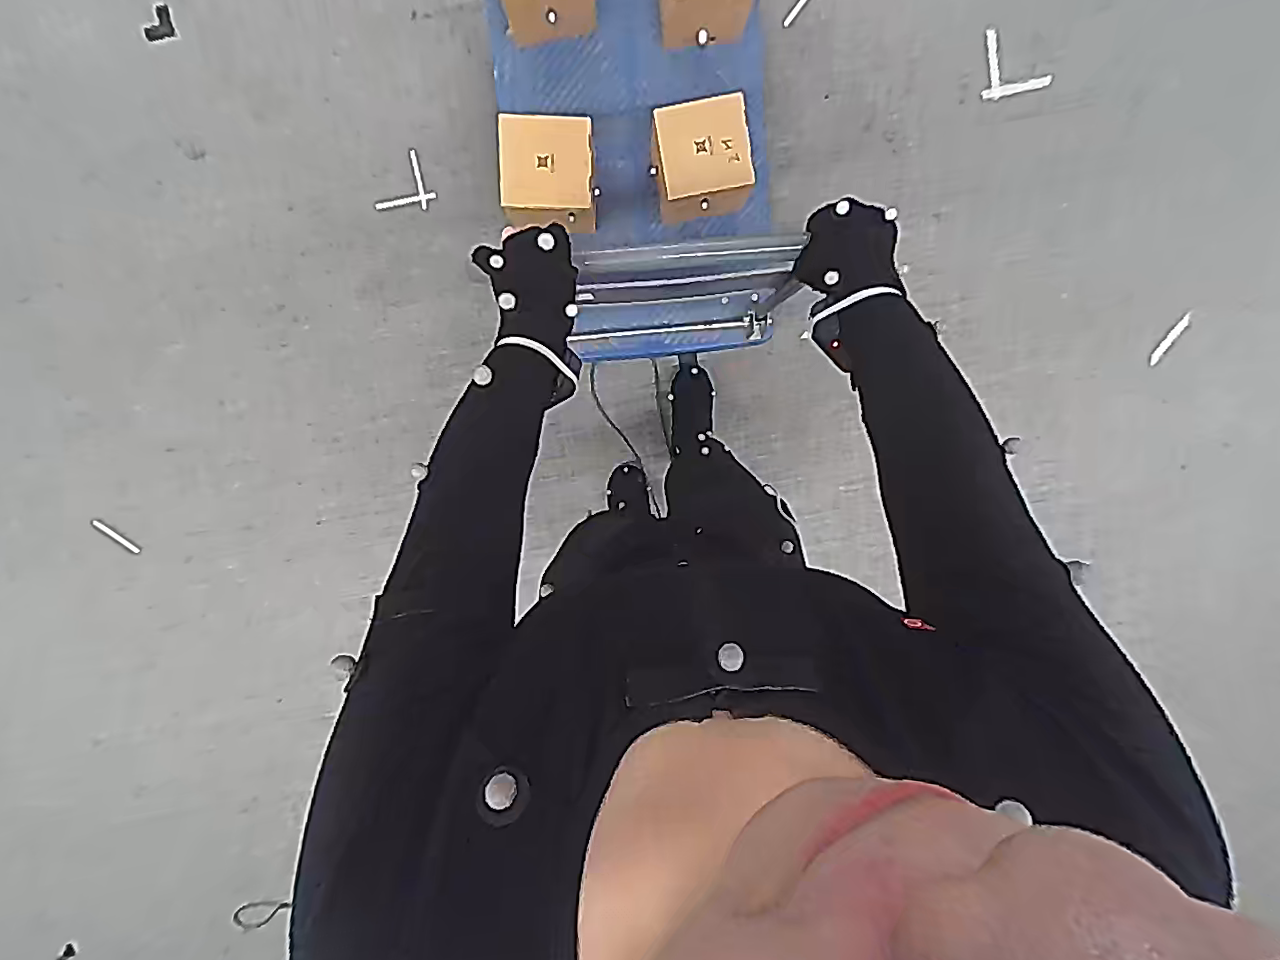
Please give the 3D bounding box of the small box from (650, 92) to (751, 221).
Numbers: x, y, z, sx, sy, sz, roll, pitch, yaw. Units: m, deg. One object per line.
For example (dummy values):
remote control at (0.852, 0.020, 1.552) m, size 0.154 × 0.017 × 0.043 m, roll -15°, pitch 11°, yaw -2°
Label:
small box at (0.118, -0.657, 1.120) m, size 0.179 × 0.176 × 0.168 m, roll -11°, pitch 100°, yaw 0°

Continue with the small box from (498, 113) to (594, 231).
small box at (-0.187, -0.625, 1.116) m, size 0.179 × 0.176 × 0.168 m, roll 0°, pitch 99°, yaw -3°

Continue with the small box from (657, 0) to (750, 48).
small box at (0.120, -1.001, 1.061) m, size 0.168 × 0.176 × 0.179 m, roll -7°, pitch 101°, yaw -1°
